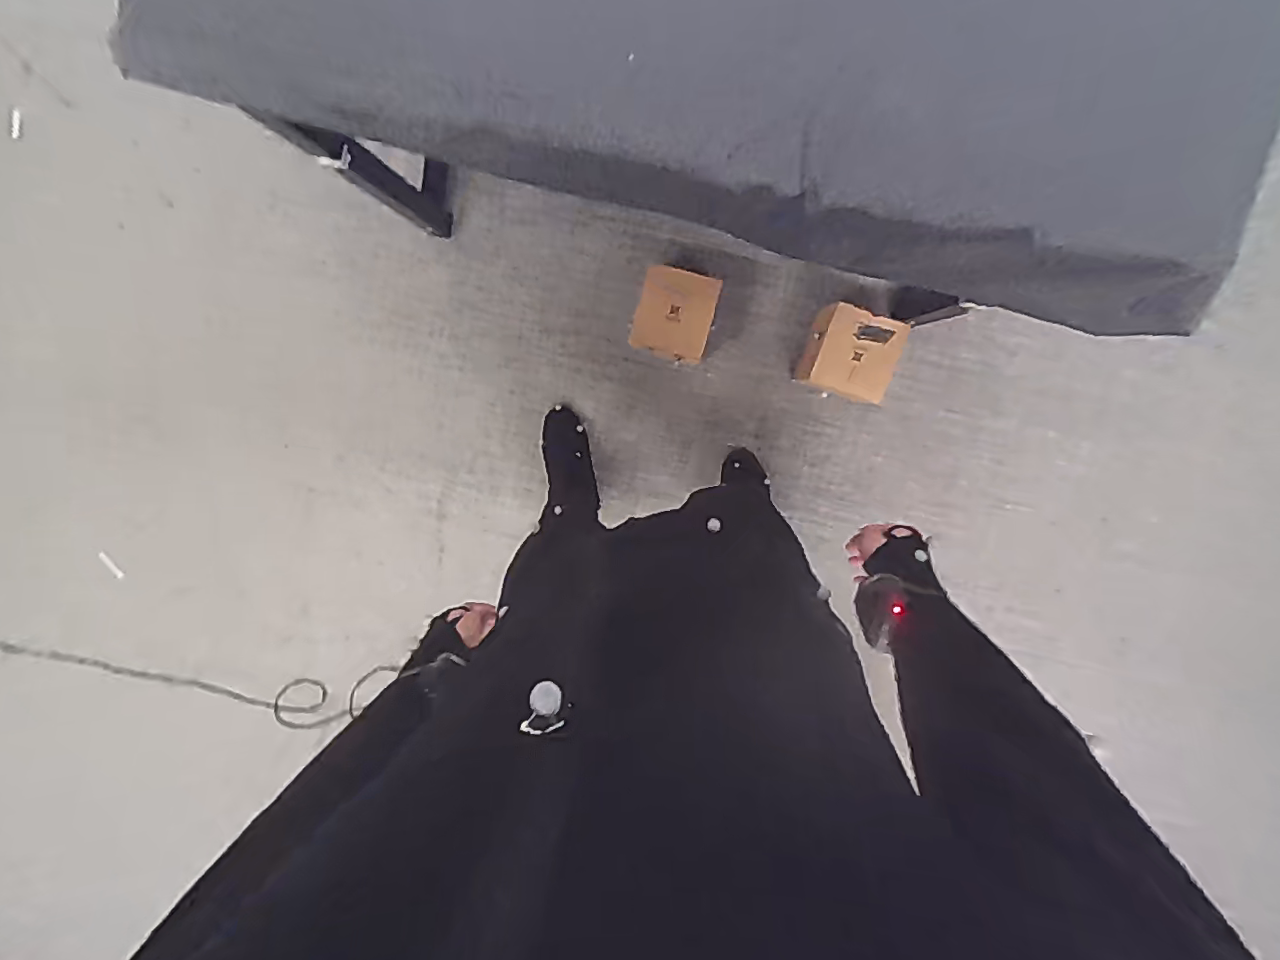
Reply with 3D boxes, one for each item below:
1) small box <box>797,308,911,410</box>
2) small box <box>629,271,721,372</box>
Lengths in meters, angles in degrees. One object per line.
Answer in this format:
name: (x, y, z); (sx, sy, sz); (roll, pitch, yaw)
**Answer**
small box: (0.472, -0.268, 1.224); (0.168, 0.176, 0.179); (17, 100, 1)
small box: (0.078, -0.352, 1.238); (0.168, 0.176, 0.179); (14, 97, 0)
